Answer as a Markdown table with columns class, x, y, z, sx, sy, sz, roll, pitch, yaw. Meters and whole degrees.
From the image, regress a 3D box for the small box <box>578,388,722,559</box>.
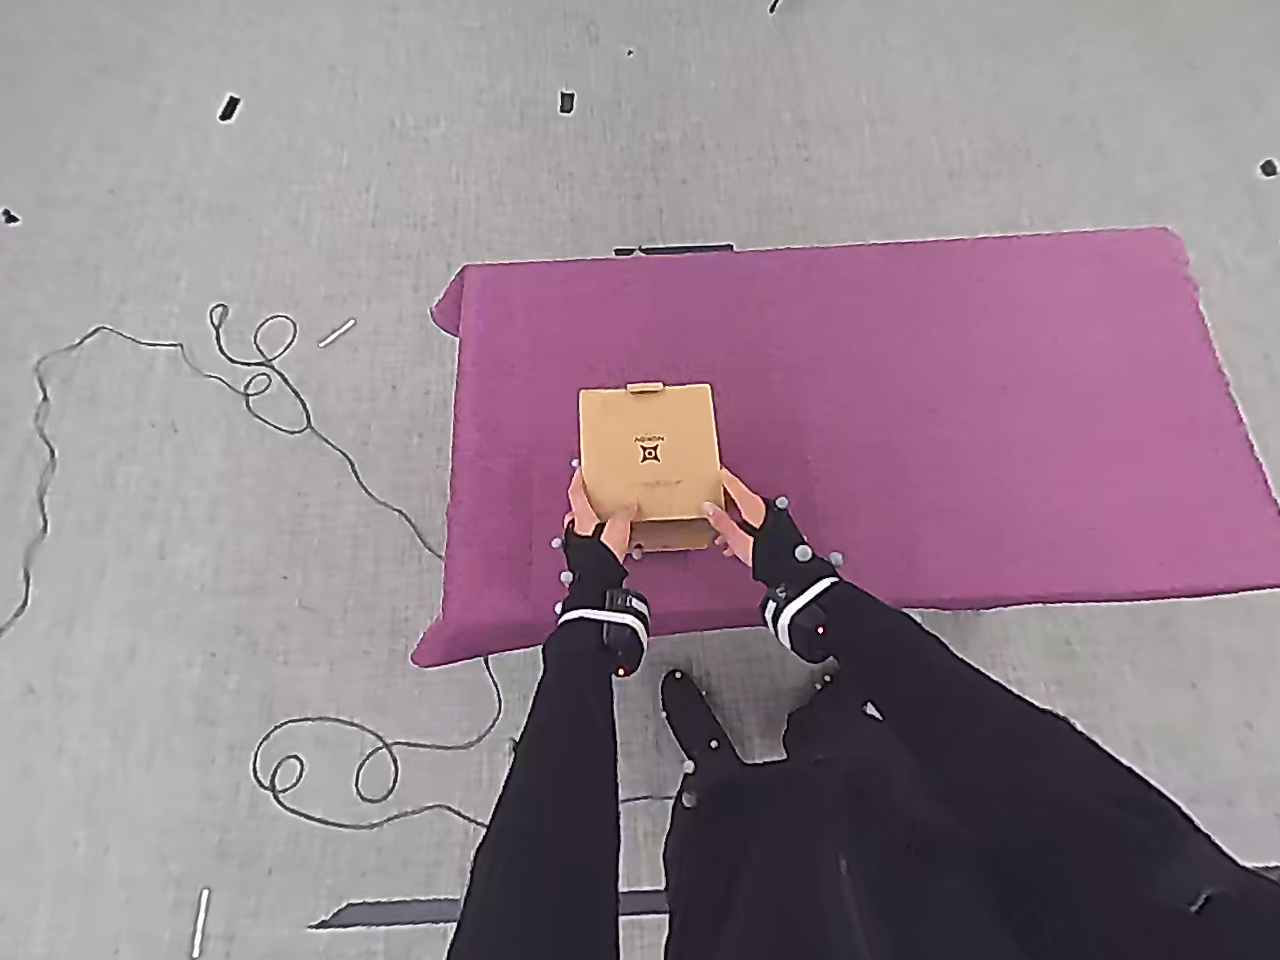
| class | x | y | z | sx | sy | sz | roll | pitch | yaw |
| --- | --- | --- | --- | --- | --- | --- | --- | --- | --- |
| small box | 0.006 | -0.003 | 0.711 | 0.168 | 0.176 | 0.179 | -3 | 70 | -2 |
